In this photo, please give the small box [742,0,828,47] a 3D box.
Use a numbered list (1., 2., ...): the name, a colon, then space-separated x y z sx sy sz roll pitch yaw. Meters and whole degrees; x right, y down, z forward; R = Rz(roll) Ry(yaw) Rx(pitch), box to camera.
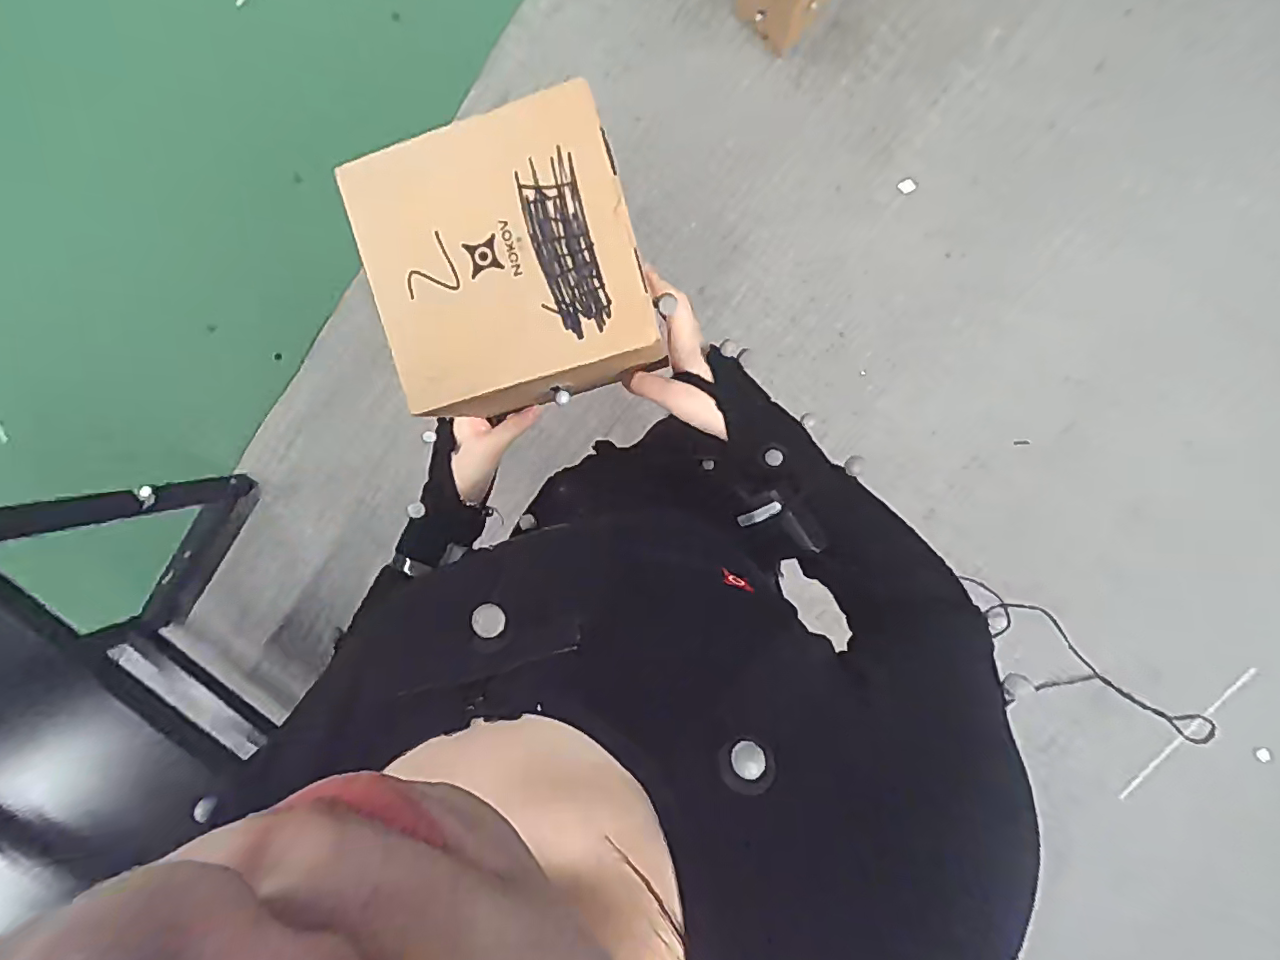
1. small box: 0.342 -1.144 1.218 0.168 0.176 0.179 42 100 0
